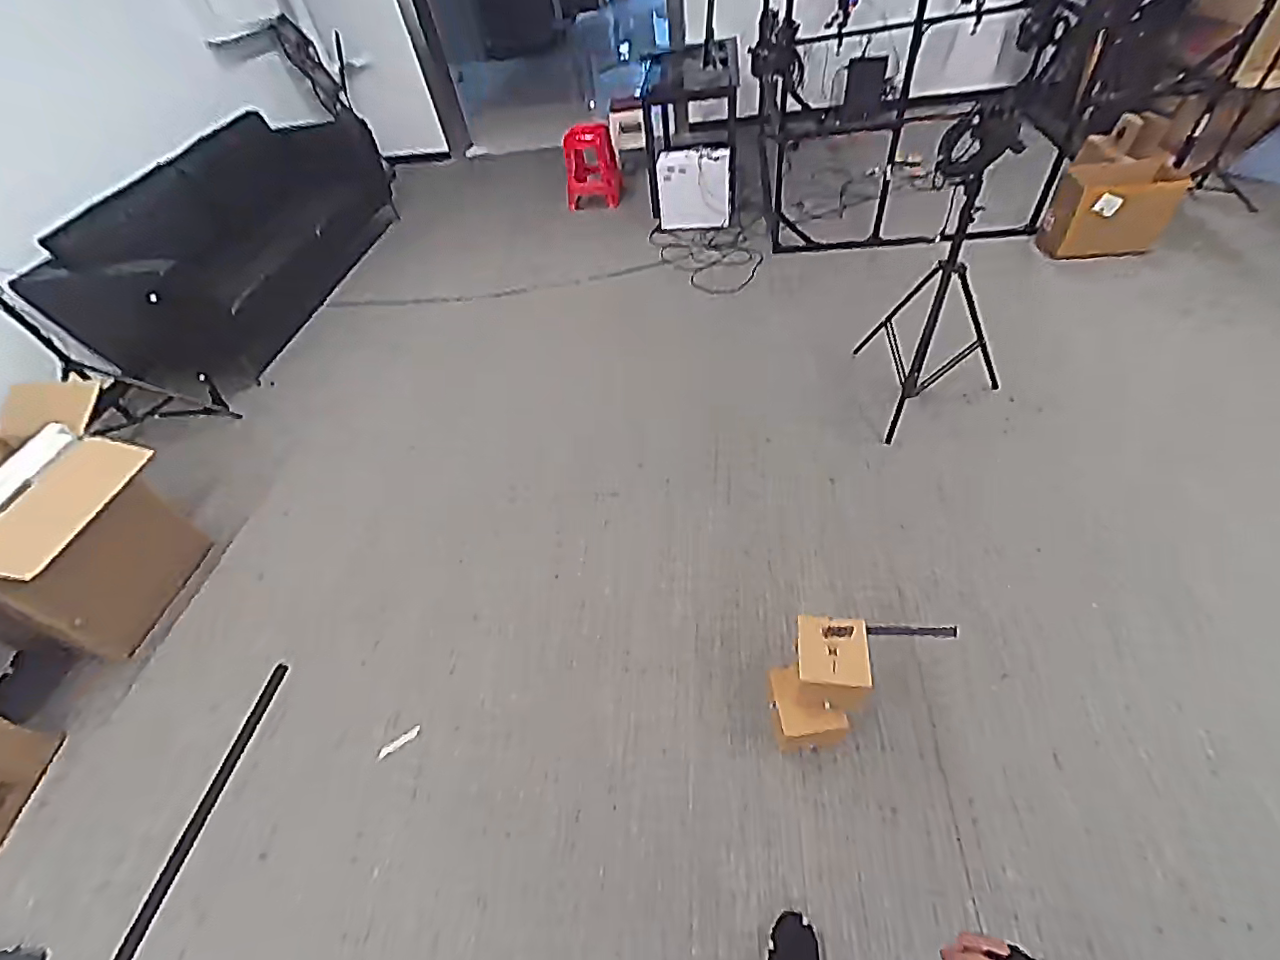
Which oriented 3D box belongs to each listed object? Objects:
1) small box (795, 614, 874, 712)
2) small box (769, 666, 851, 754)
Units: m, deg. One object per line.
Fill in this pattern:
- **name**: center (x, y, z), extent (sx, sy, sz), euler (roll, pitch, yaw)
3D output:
- **small box**: center (0.484, 0.463, 1.370), extent (0.168, 0.176, 0.179), euler (1, 49, 13)
- **small box**: center (0.449, 0.616, 1.460), extent (0.168, 0.176, 0.179), euler (-9, 48, 3)
